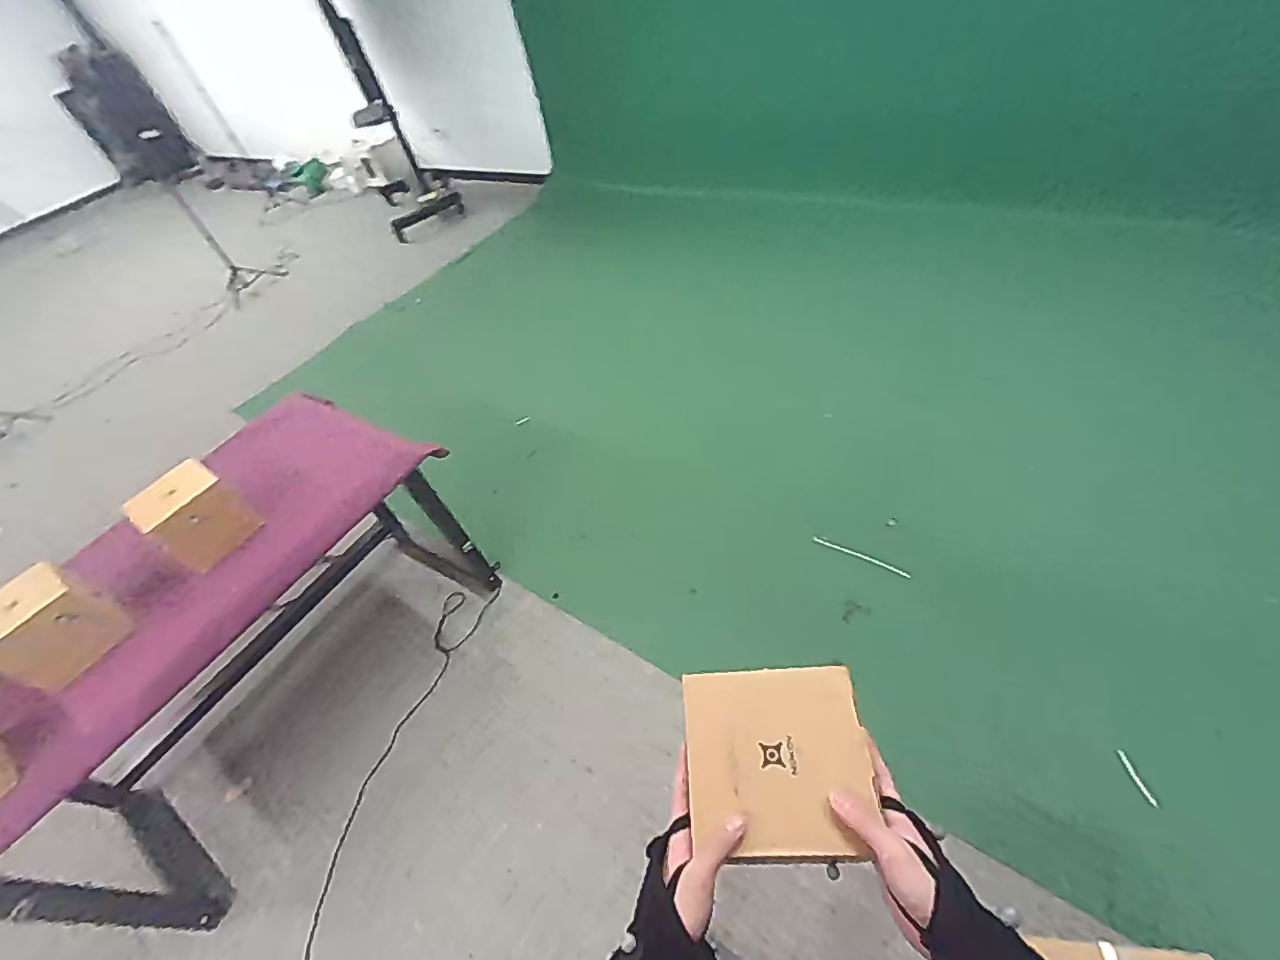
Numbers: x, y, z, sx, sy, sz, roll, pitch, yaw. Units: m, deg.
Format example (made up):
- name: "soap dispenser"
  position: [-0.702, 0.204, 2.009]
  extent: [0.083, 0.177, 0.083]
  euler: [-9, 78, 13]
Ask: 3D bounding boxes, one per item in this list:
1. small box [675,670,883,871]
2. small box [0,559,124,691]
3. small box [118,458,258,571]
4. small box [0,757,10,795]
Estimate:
- name: "small box"
  position: [0.134, 0.315, 0.582]
  extent: [0.179, 0.176, 0.168]
  euler: [-6, 52, 7]
- name: "small box"
  position: [-1.250, 0.306, 1.136]
  extent: [0.168, 0.176, 0.179]
  euler: [22, 57, 29]
- name: "small box"
  position: [-1.063, 0.082, 1.292]
  extent: [0.168, 0.176, 0.179]
  euler: [22, 59, 28]
- name: "small box"
  position: [-1.283, 0.536, 0.939]
  extent: [0.179, 0.176, 0.168]
  euler: [18, 56, 29]
